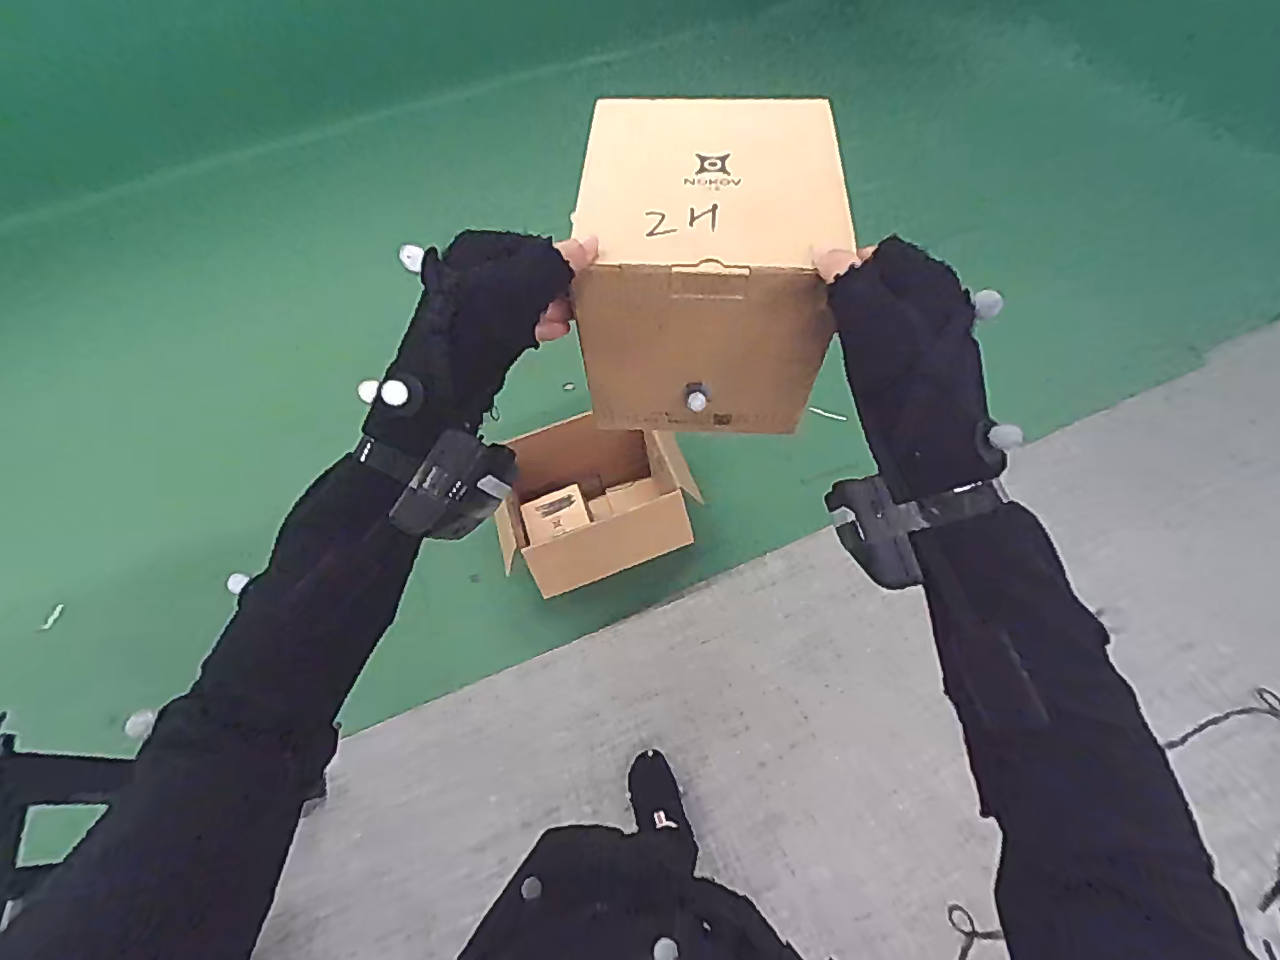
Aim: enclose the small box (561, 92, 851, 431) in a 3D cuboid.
[{"bbox_3d":[0.044,-0.159,0.412,0.168,0.176,0.179,2,61,4],"label":"small box"}]
